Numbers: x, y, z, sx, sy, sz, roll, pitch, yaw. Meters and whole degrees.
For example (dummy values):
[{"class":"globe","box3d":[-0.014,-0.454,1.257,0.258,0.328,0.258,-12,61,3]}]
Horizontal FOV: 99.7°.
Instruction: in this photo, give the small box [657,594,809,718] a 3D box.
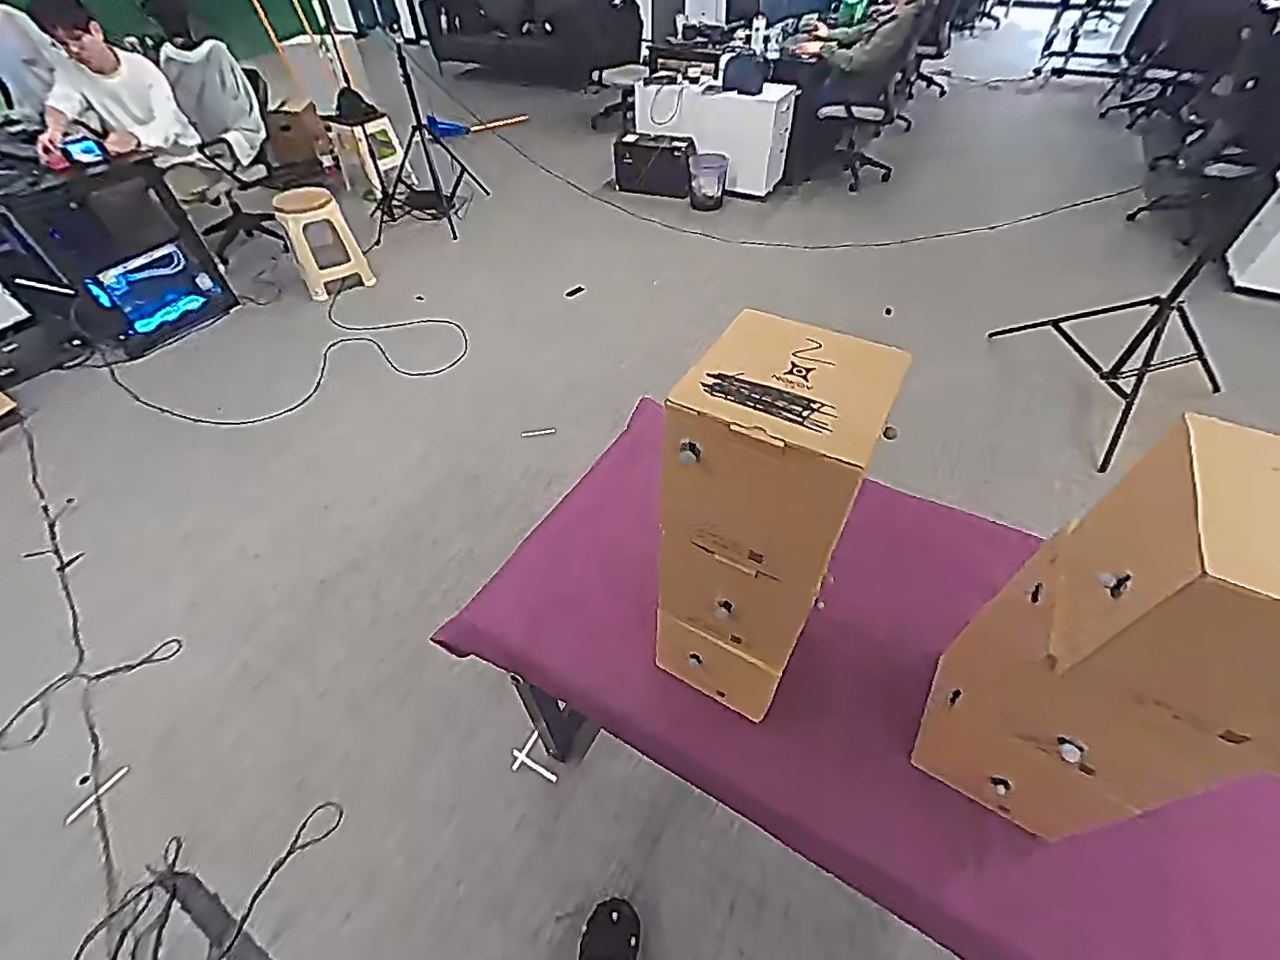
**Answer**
[{"class":"small box","box3d":[0.137,0.198,0.759,0.168,0.176,0.179,24,51,21]}]

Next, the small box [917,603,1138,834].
[{"class":"small box","box3d":[0.466,0.293,0.664,0.168,0.176,0.179,26,52,22]}]

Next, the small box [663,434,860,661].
[{"class":"small box","box3d":[0.138,0.081,0.644,0.168,0.176,0.179,22,51,19]}]

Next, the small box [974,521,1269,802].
[{"class":"small box","box3d":[0.469,0.181,0.544,0.168,0.176,0.179,25,53,22]}]

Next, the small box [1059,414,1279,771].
[{"class":"small box","box3d":[0.457,0.086,0.411,0.168,0.176,0.179,23,51,19]}]
